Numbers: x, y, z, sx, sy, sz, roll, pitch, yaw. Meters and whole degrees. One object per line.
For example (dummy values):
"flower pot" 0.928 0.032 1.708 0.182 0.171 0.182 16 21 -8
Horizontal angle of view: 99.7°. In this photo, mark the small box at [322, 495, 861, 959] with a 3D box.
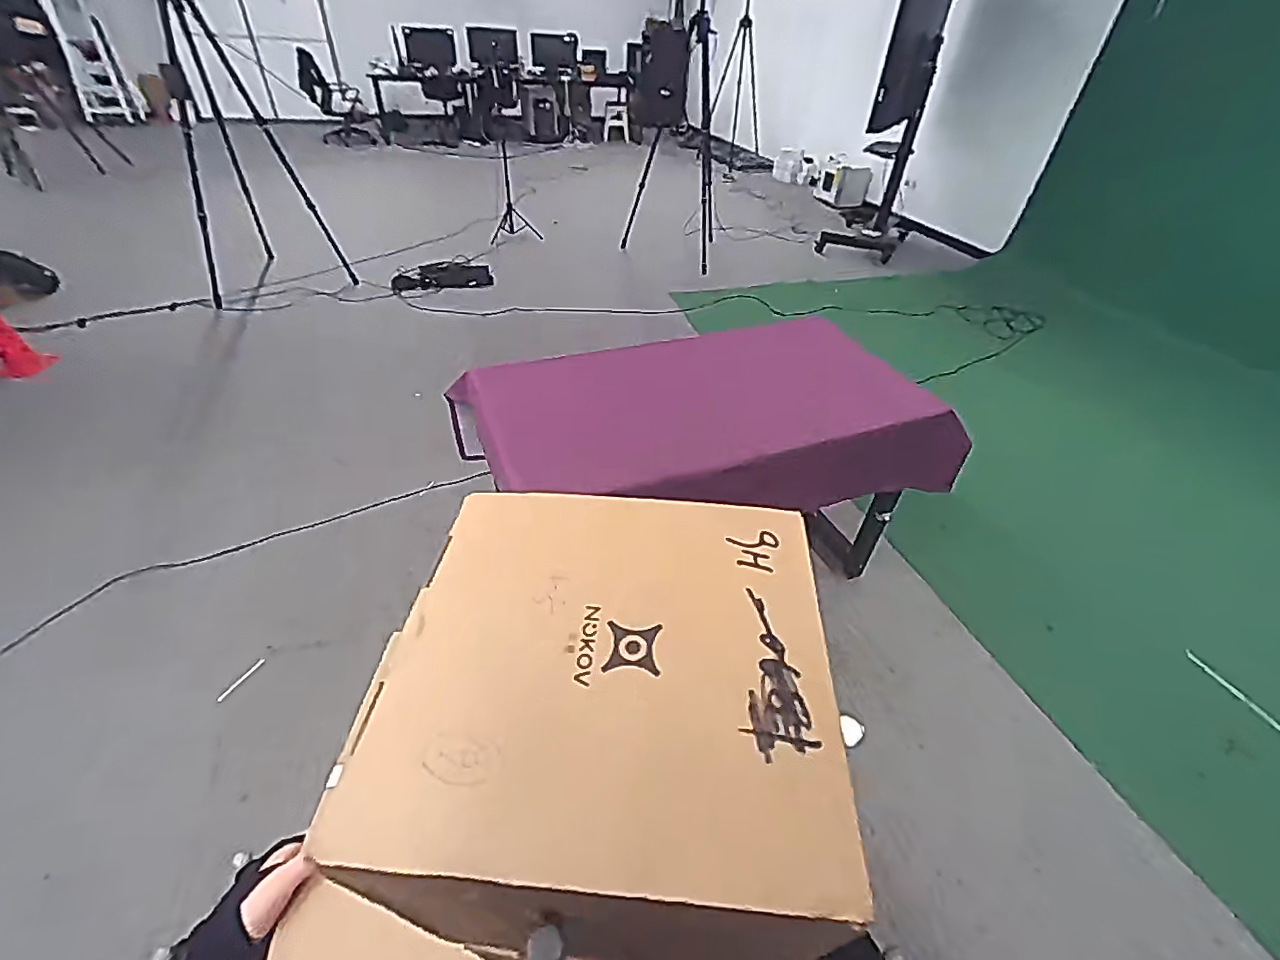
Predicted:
"small box" -0.009 0.126 0.279 0.179 0.176 0.168 2 44 5
